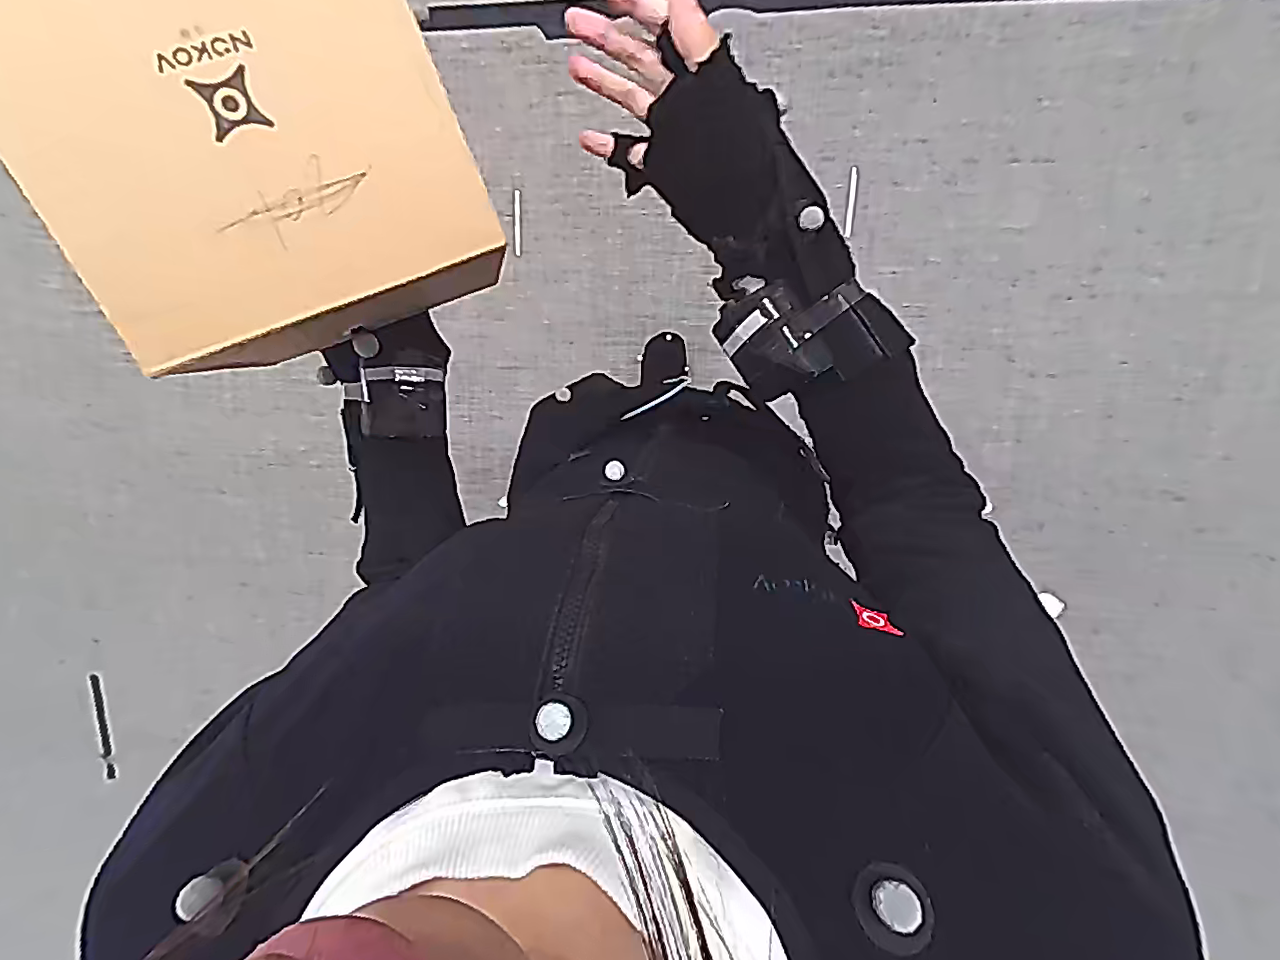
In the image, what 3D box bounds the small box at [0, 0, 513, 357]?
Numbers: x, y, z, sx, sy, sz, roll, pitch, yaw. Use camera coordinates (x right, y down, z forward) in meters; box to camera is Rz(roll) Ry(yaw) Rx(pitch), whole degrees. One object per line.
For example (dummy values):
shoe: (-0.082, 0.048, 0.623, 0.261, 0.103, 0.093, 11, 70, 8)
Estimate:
small box: (-0.187, -0.178, 0.302, 0.168, 0.176, 0.179, -25, 109, -10)
